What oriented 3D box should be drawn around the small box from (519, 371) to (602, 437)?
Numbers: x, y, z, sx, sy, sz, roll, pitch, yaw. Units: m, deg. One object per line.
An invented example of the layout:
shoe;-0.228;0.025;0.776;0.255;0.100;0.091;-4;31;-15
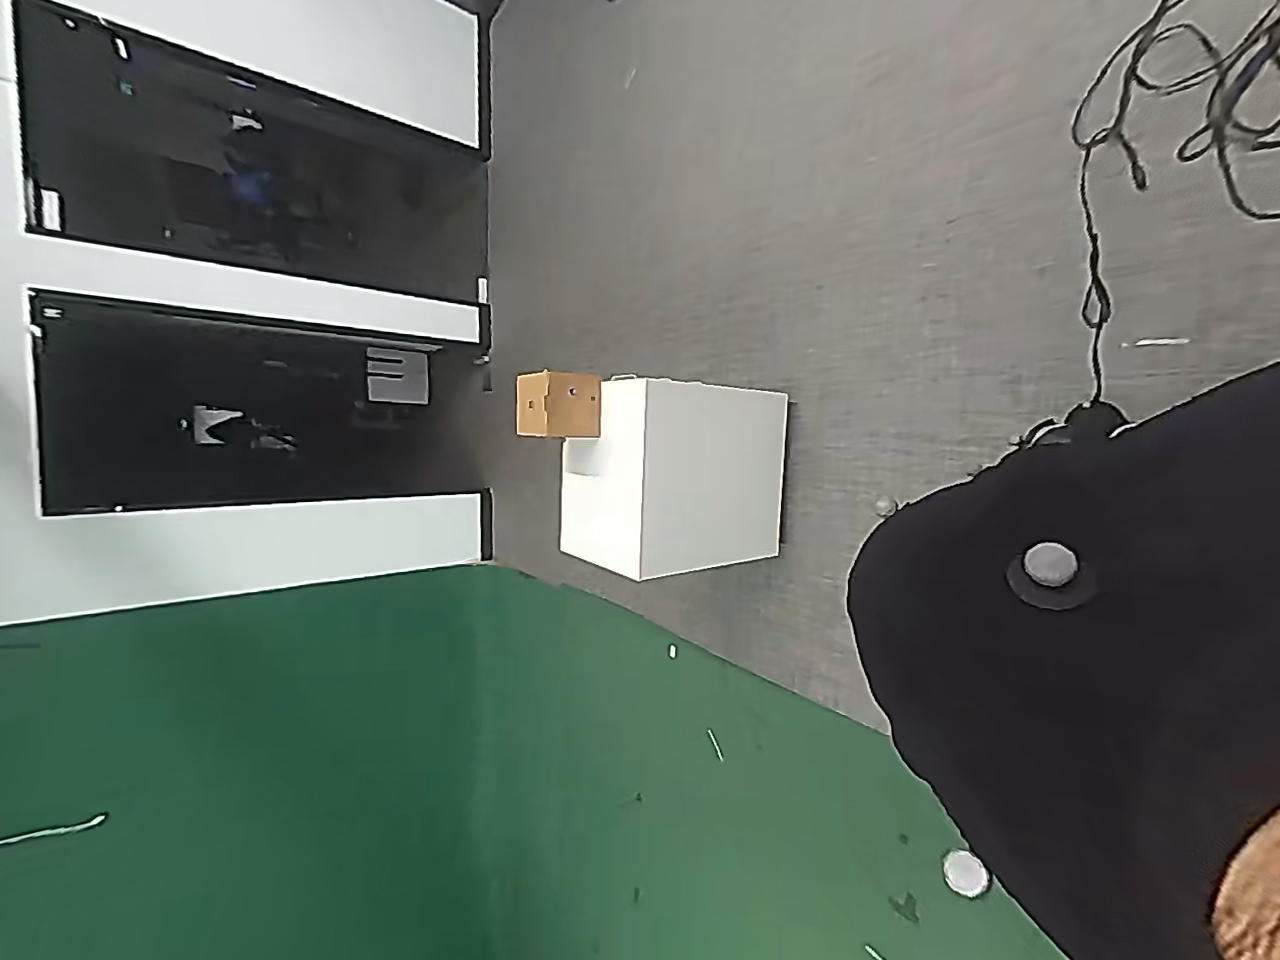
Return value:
small box;-0.216;-0.202;1.471;0.179;0.176;0.168;8;97;52
